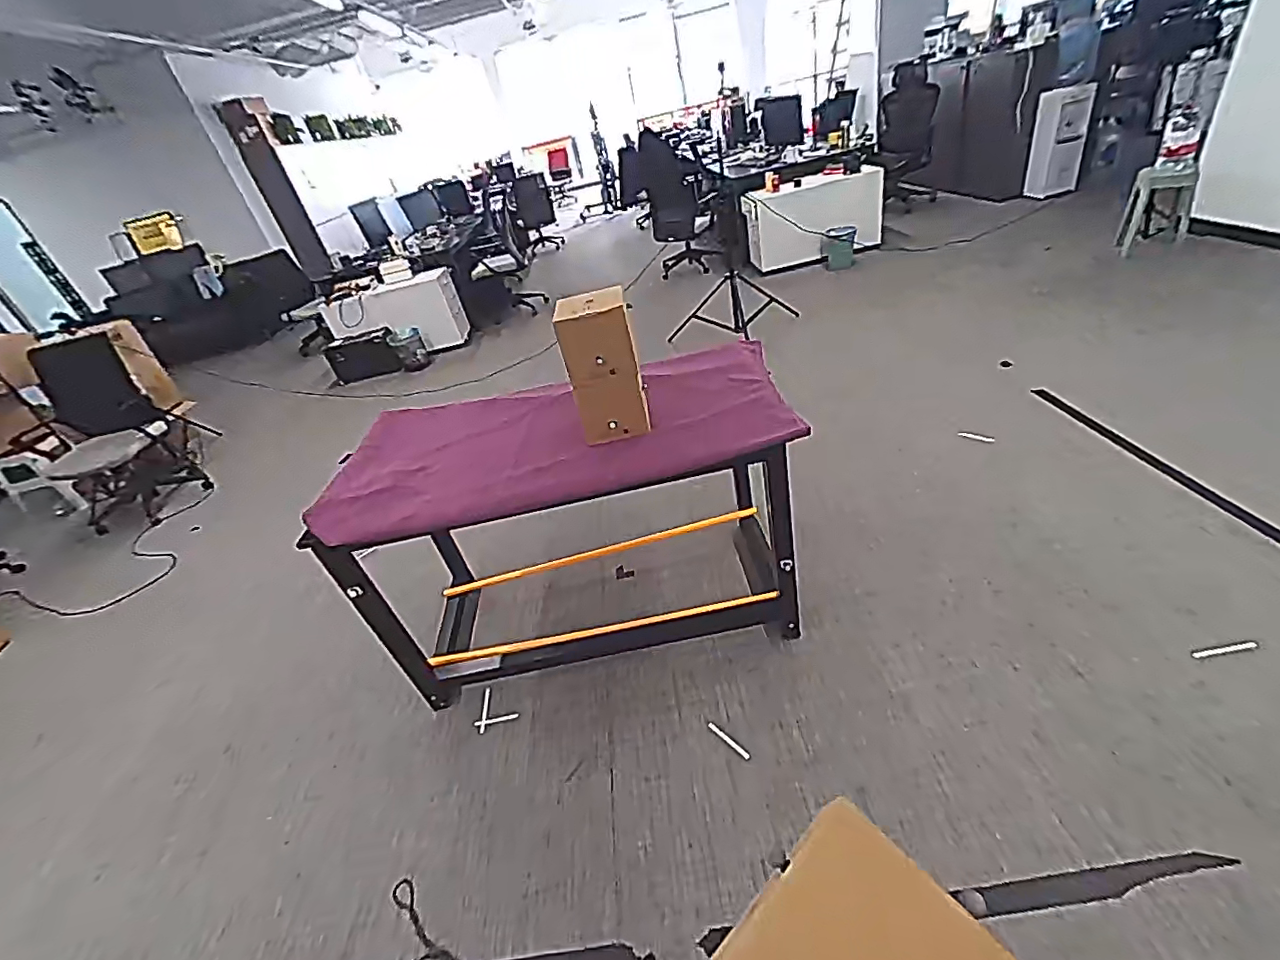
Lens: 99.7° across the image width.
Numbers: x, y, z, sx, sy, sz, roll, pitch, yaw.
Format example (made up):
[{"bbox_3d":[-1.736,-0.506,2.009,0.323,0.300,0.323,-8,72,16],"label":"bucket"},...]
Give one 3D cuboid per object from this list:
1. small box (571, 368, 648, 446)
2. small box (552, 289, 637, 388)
[{"bbox_3d":[-0.076,-0.211,1.413,0.168,0.176,0.179,-12,34,4],"label":"small box"},{"bbox_3d":[-0.105,-0.345,1.321,0.168,0.176,0.179,-12,34,5],"label":"small box"}]
